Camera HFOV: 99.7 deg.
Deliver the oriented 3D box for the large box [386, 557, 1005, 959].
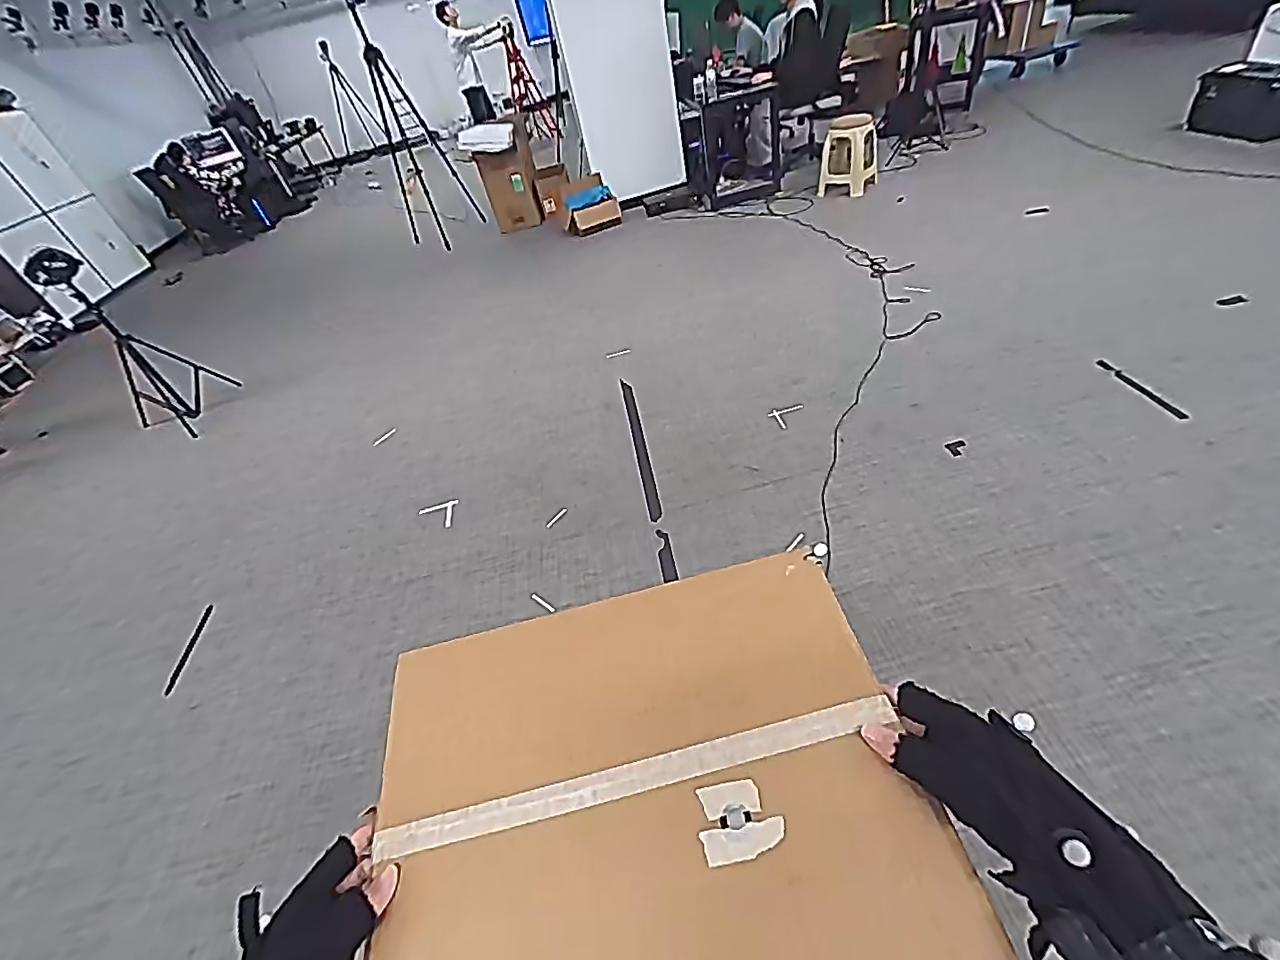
[{"bbox_3d":[0.025,0.333,0.530,0.408,0.320,0.320,-15,48,-1],"label":"large box"}]
